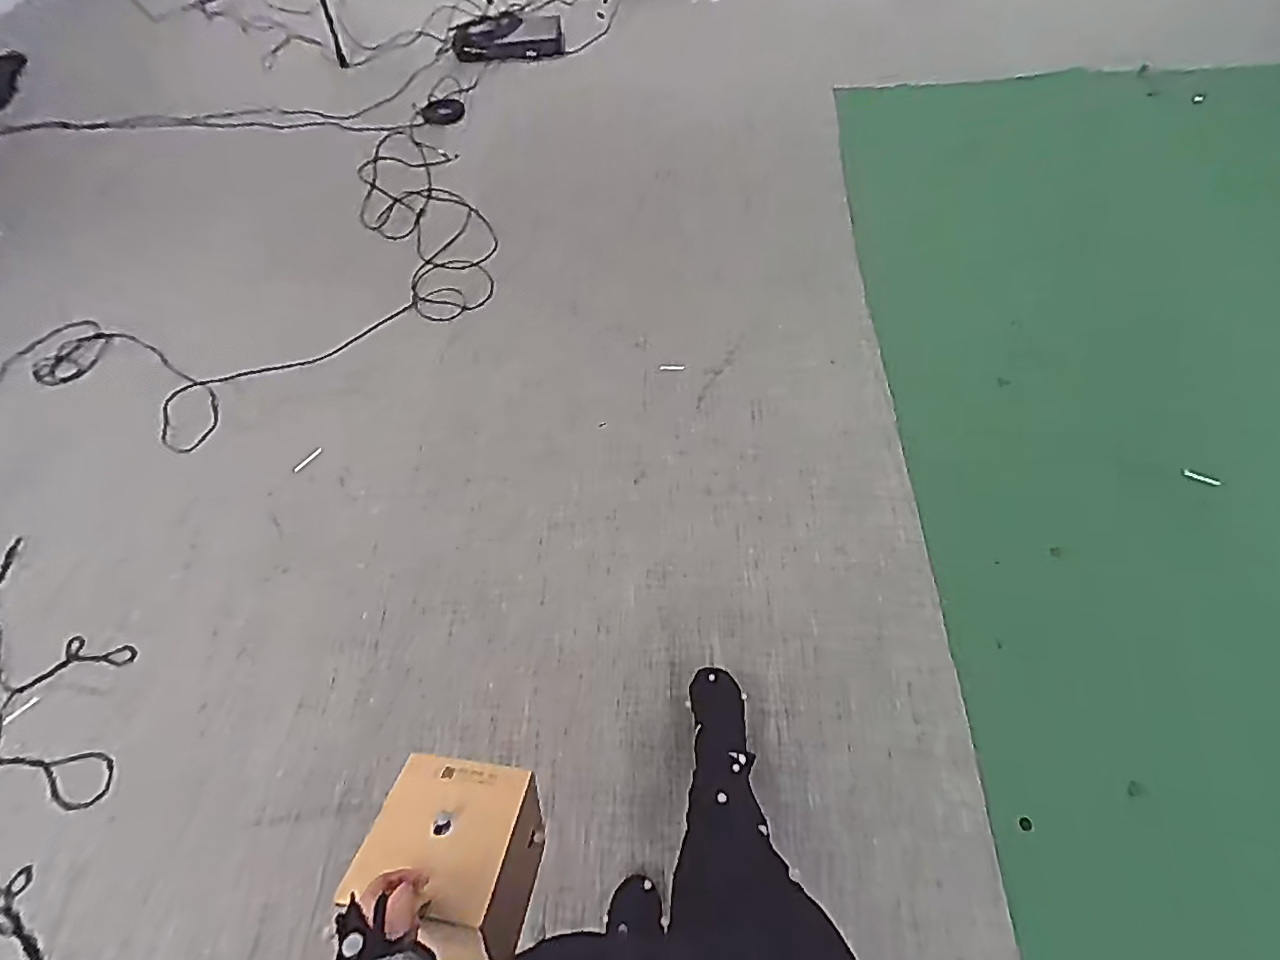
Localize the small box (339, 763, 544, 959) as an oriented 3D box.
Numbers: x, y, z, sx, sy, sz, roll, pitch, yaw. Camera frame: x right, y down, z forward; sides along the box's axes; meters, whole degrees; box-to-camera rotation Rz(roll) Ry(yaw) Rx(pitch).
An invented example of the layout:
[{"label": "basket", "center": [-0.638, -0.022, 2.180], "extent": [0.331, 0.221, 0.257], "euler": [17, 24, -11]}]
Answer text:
[{"label": "small box", "center": [-0.223, 0.477, 0.661], "extent": [0.168, 0.179, 0.176], "euler": [3, 30, 6]}]
